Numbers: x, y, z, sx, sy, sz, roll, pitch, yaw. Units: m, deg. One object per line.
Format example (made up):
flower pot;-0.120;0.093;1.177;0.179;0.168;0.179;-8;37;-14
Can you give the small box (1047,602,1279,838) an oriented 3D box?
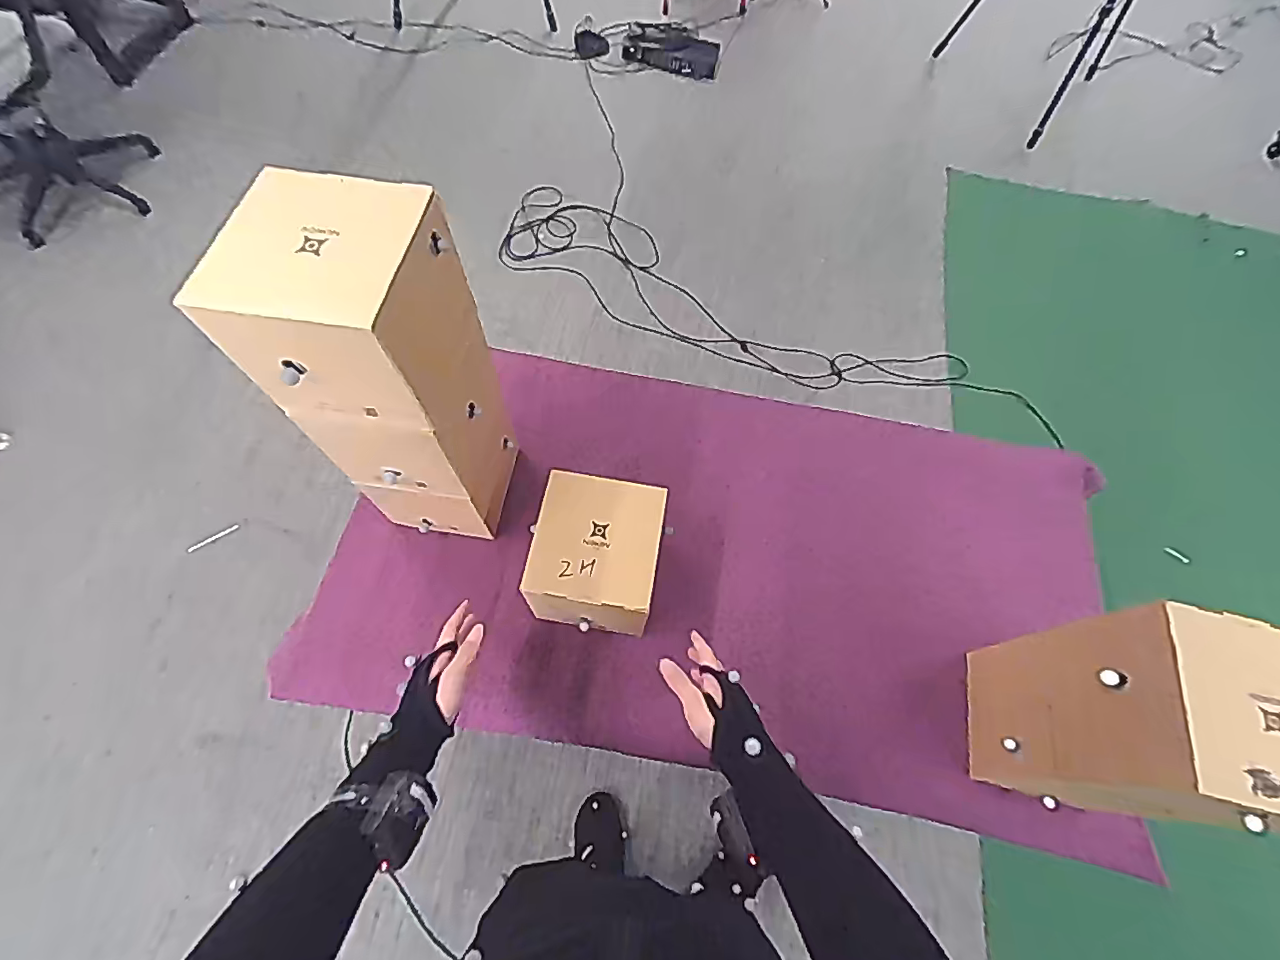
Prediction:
small box;0.565;0.251;0.562;0.168;0.176;0.179;14;63;5

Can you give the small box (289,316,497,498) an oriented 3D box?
small box;-0.291;-0.098;0.689;0.168;0.176;0.179;8;65;2

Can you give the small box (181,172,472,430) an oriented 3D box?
small box;-0.285;-0.169;0.543;0.168;0.176;0.179;8;64;2

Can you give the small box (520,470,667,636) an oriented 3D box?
small box;-0.062;0.111;0.781;0.168;0.176;0.179;10;64;2

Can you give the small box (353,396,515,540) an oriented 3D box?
small box;-0.300;-0.026;0.835;0.168;0.176;0.179;9;65;2
